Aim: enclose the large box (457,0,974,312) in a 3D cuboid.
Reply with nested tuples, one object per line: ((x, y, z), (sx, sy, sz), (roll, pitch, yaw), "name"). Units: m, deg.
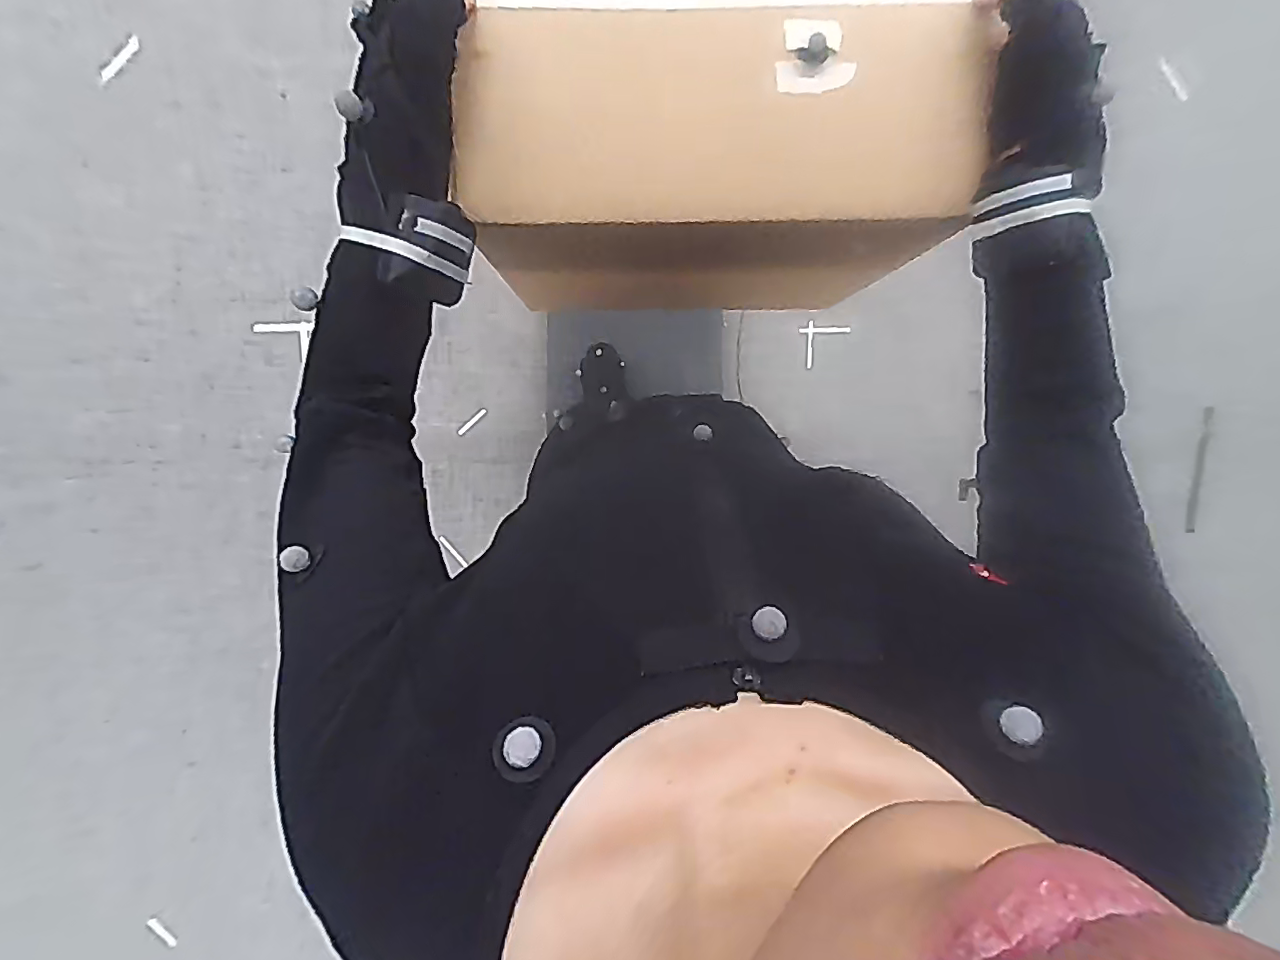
((0.053, -0.371, 0.560), (0.408, 0.320, 0.320), (-1, 95, -1), "large box")
